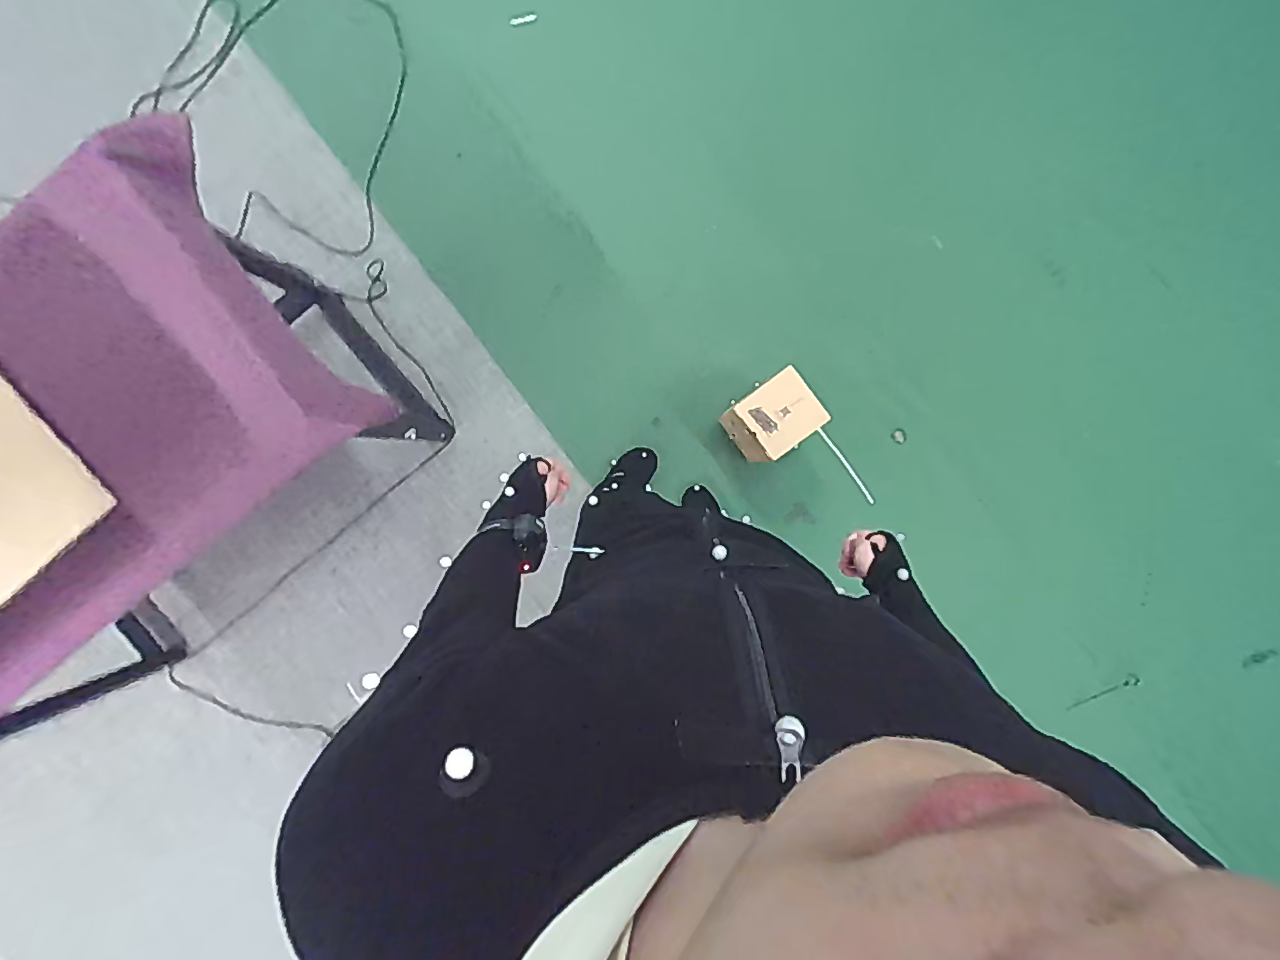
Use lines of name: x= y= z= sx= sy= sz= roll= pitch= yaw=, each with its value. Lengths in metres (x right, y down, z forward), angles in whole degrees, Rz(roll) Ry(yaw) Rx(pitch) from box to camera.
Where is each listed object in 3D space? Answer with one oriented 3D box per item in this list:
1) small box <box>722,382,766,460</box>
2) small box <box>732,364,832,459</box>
small box: x=0.354 y=-0.173 z=1.536 sx=0.179 sy=0.176 sz=0.168 roll=-37 pitch=91 yaw=3
small box: x=0.348 y=-0.166 z=1.373 sx=0.179 sy=0.176 sz=0.168 roll=-37 pitch=91 yaw=2
